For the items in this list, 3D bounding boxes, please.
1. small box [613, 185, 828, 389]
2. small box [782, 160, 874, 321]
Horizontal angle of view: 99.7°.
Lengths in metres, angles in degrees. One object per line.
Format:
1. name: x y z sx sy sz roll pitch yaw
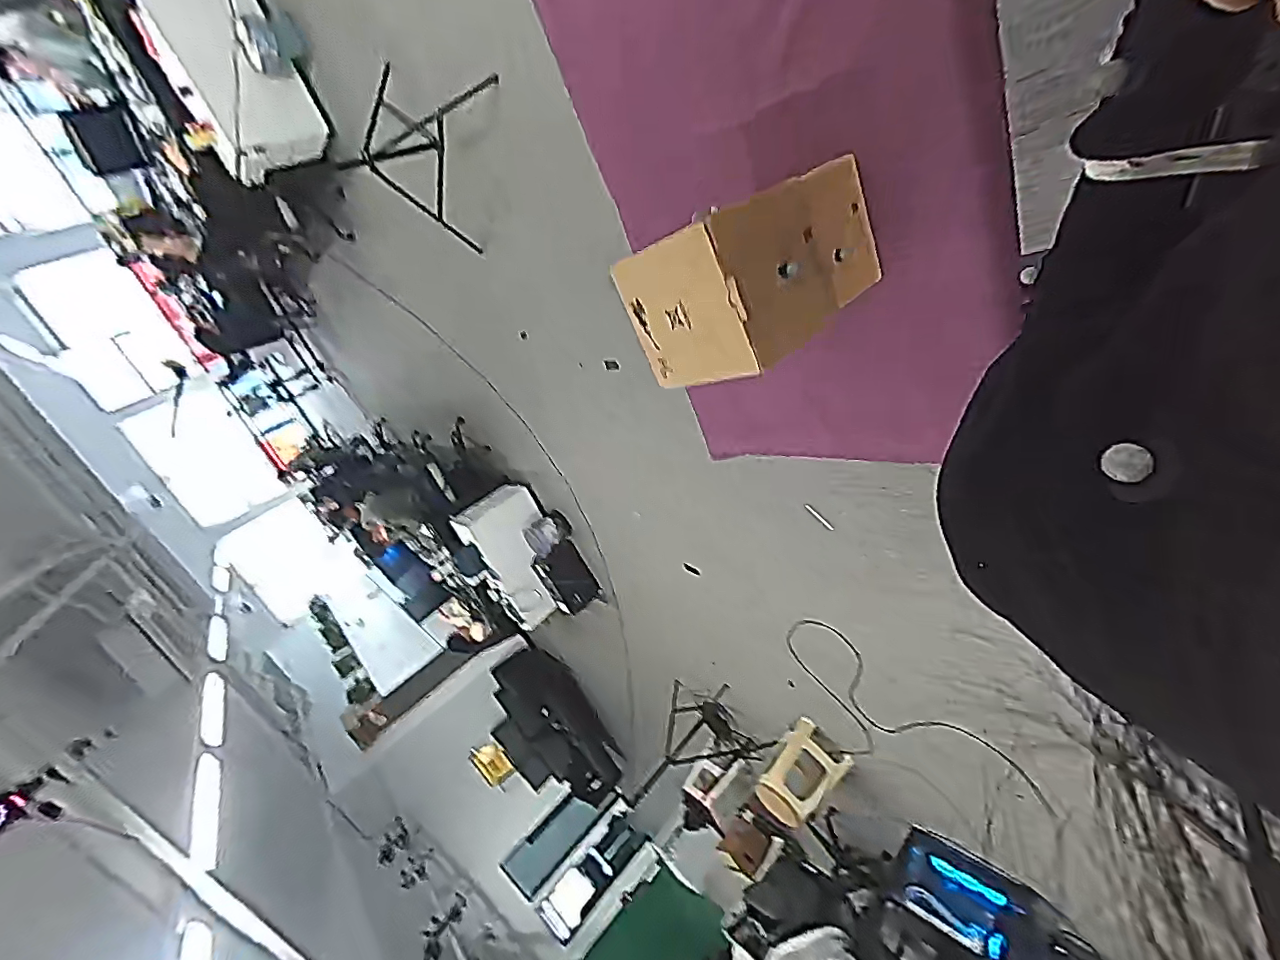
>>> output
1. small box: 0.106 -0.229 0.660 0.179 0.176 0.168 3 125 54
2. small box: 0.205 -0.318 0.760 0.179 0.176 0.168 6 127 53
